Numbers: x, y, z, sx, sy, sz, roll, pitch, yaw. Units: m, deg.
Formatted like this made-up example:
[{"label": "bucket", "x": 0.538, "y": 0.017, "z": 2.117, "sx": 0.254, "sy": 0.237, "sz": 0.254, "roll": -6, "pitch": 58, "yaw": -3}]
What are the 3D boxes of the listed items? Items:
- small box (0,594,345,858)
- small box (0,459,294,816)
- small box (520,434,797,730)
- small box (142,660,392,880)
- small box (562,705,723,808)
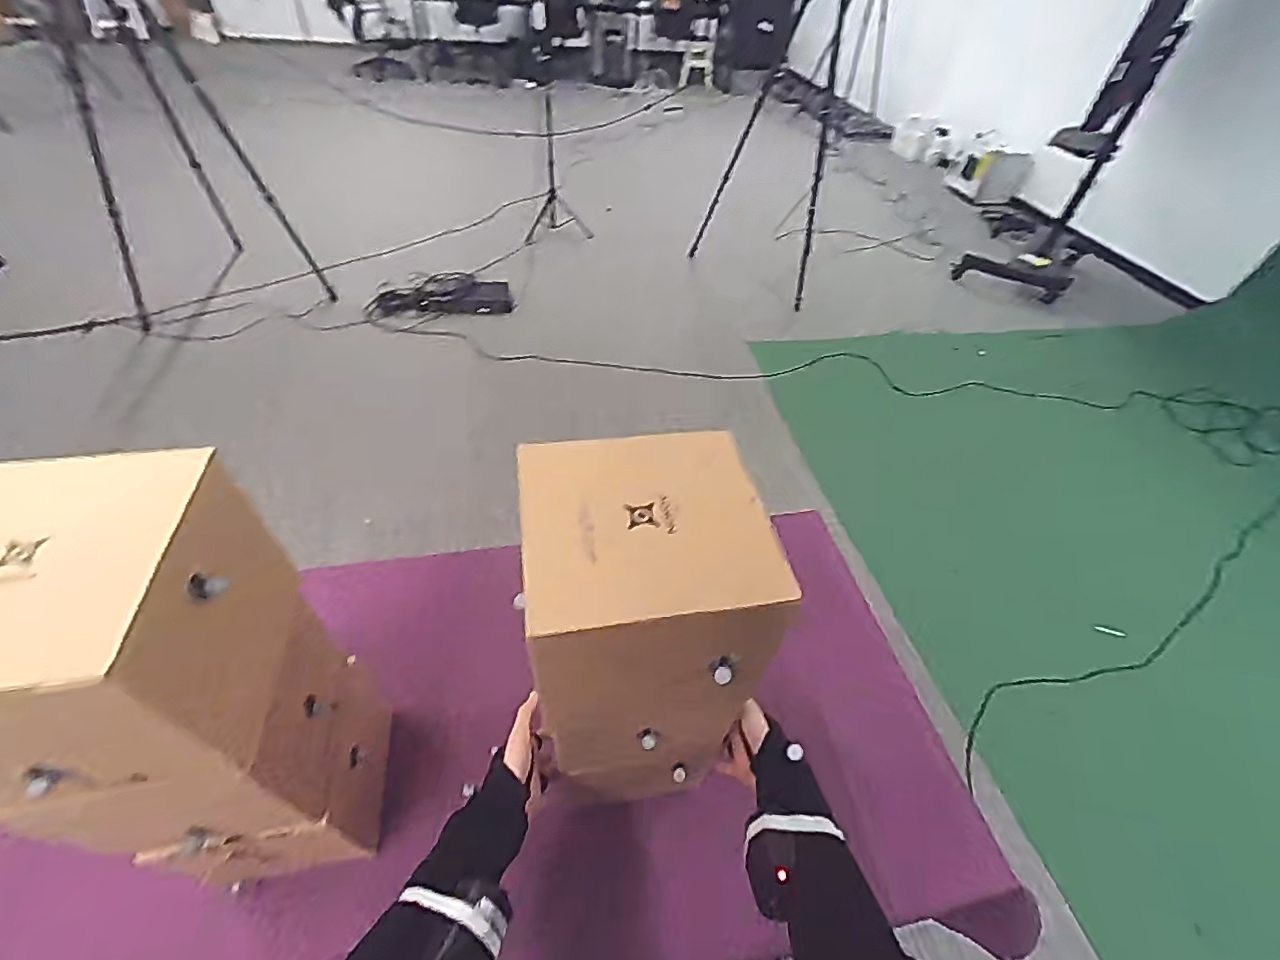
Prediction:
[{"label": "small box", "x": -0.397, "y": 0.225, "z": 0.498, "sx": 0.179, "sy": 0.176, "sz": 0.168, "roll": -4, "pitch": 47, "yaw": -10}, {"label": "small box", "x": -0.377, "y": 0.109, "z": 0.384, "sx": 0.168, "sy": 0.176, "sz": 0.179, "roll": -6, "pitch": 48, "yaw": -11}, {"label": "small box", "x": -0.001, "y": 0.083, "z": 0.442, "sx": 0.179, "sy": 0.176, "sz": 0.168, "roll": -5, "pitch": 47, "yaw": -9}, {"label": "small box", "x": -0.398, "y": 0.335, "z": 0.620, "sx": 0.168, "sy": 0.176, "sz": 0.179, "roll": -5, "pitch": 47, "yaw": -11}, {"label": "small box", "x": -0.012, "y": 0.296, "z": 0.690, "sx": 0.179, "sy": 0.176, "sz": 0.168, "roll": -5, "pitch": 47, "yaw": -10}]
